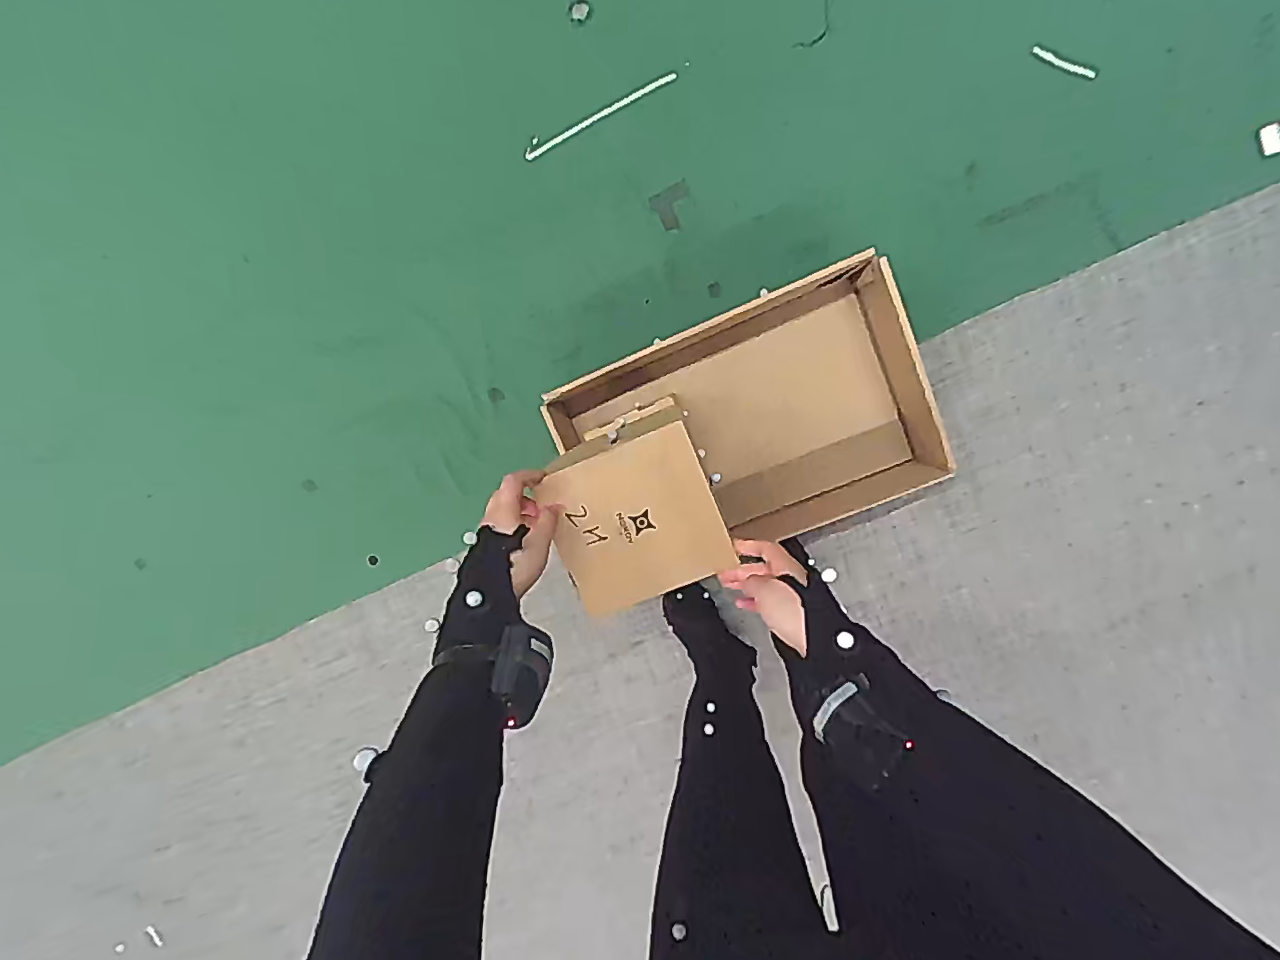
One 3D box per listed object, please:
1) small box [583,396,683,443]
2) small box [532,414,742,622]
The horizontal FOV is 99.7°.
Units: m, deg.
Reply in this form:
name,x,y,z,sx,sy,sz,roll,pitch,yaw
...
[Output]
name,x,y,z,sx,sy,sz,roll,pitch,yaw
small box,0.016,-0.043,0.994,0.168,0.176,0.179,-23,98,9
small box,0.000,0.032,0.634,0.179,0.176,0.168,-22,100,8
